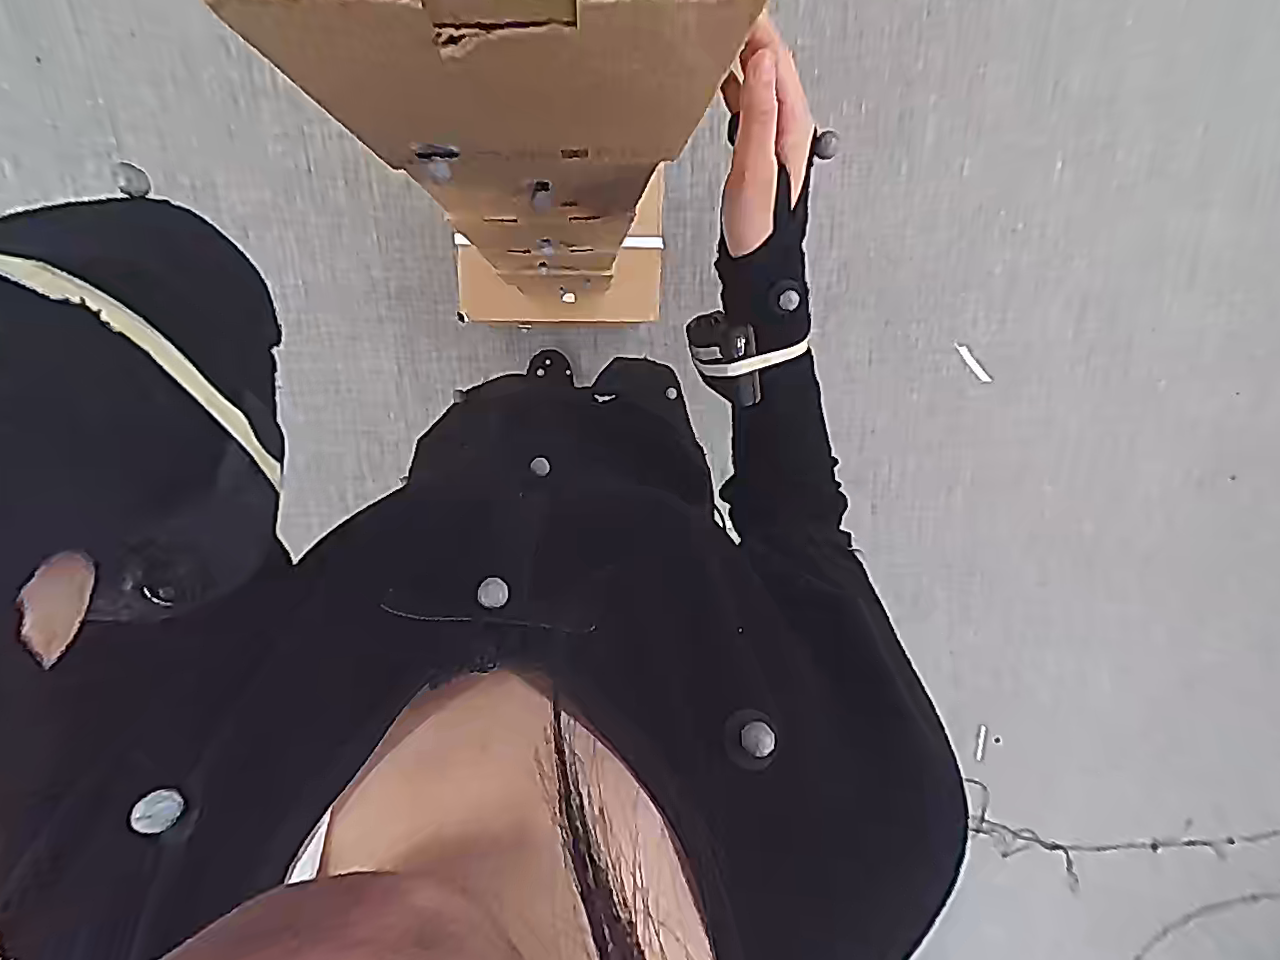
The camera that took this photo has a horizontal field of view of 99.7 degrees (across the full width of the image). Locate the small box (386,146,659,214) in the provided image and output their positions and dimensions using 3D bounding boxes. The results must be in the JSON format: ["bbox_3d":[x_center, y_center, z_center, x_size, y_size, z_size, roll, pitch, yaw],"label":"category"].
[{"bbox_3d":[-0.075,-0.289,0.369,0.168,0.176,0.179,-5,106,-6],"label":"small box"}]

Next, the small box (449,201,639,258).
[{"bbox_3d":[-0.094,-0.324,0.528,0.168,0.176,0.179,-4,105,-5],"label":"small box"}]

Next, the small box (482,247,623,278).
[{"bbox_3d":[-0.112,-0.360,0.687,0.168,0.176,0.179,-3,105,-6],"label":"small box"}]

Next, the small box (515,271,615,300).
[{"bbox_3d":[-0.141,-0.427,1.005,0.179,0.176,0.168,-4,105,-7],"label":"small box"}]

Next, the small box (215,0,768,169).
[{"bbox_3d":[-0.052,-0.238,0.213,0.168,0.176,0.179,-5,105,-5],"label":"small box"}]
